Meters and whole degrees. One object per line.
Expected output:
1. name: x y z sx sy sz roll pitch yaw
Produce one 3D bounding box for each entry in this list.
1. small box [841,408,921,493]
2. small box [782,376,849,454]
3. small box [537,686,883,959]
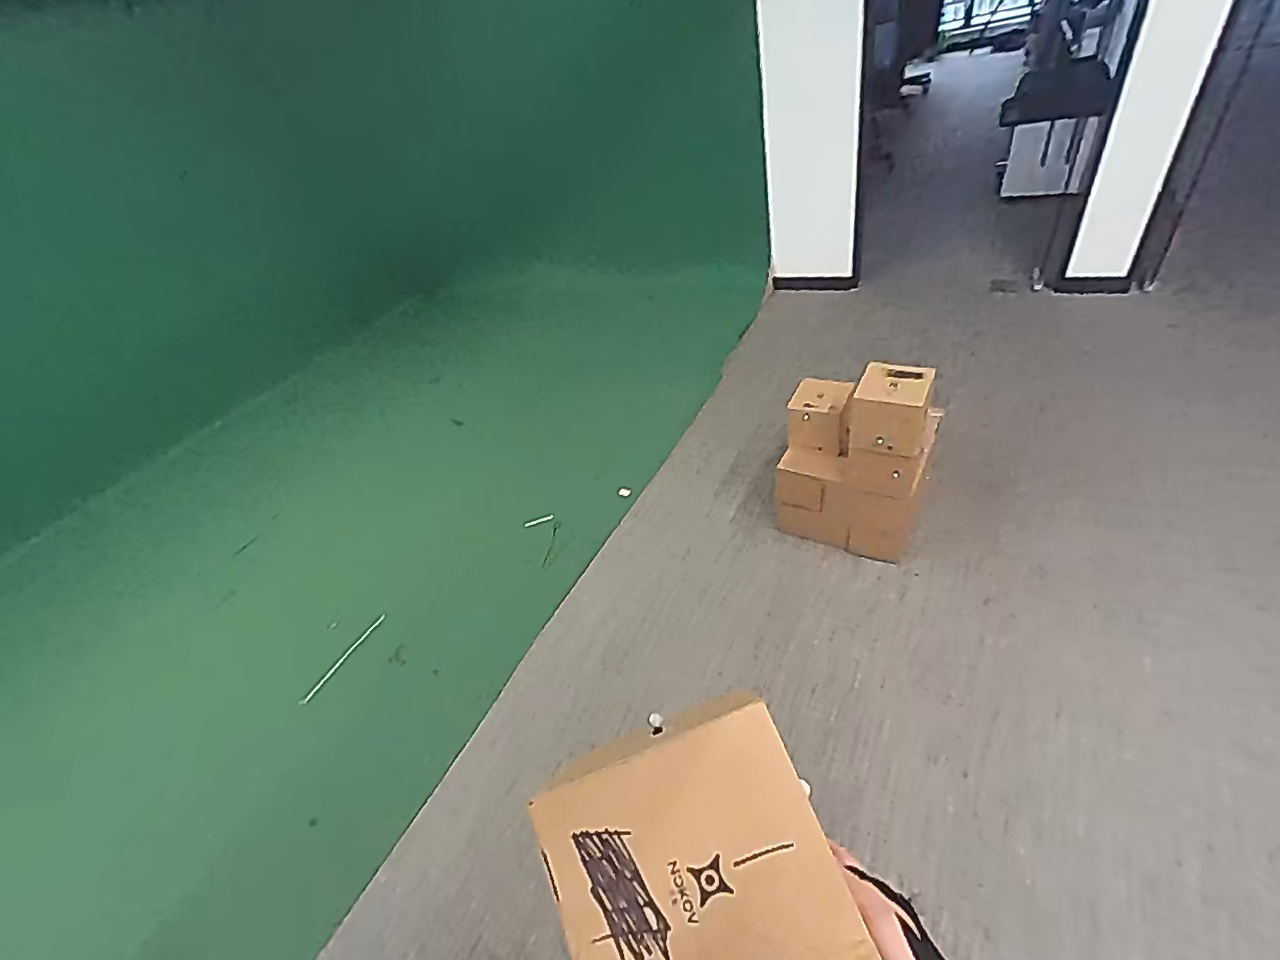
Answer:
1. small box: 0.694 -0.083 1.565 0.179 0.176 0.168 13 48 29
2. small box: 0.567 -0.212 1.750 0.168 0.176 0.179 13 47 30
3. small box: 0.044 0.274 0.419 0.179 0.176 0.168 -22 72 -5
